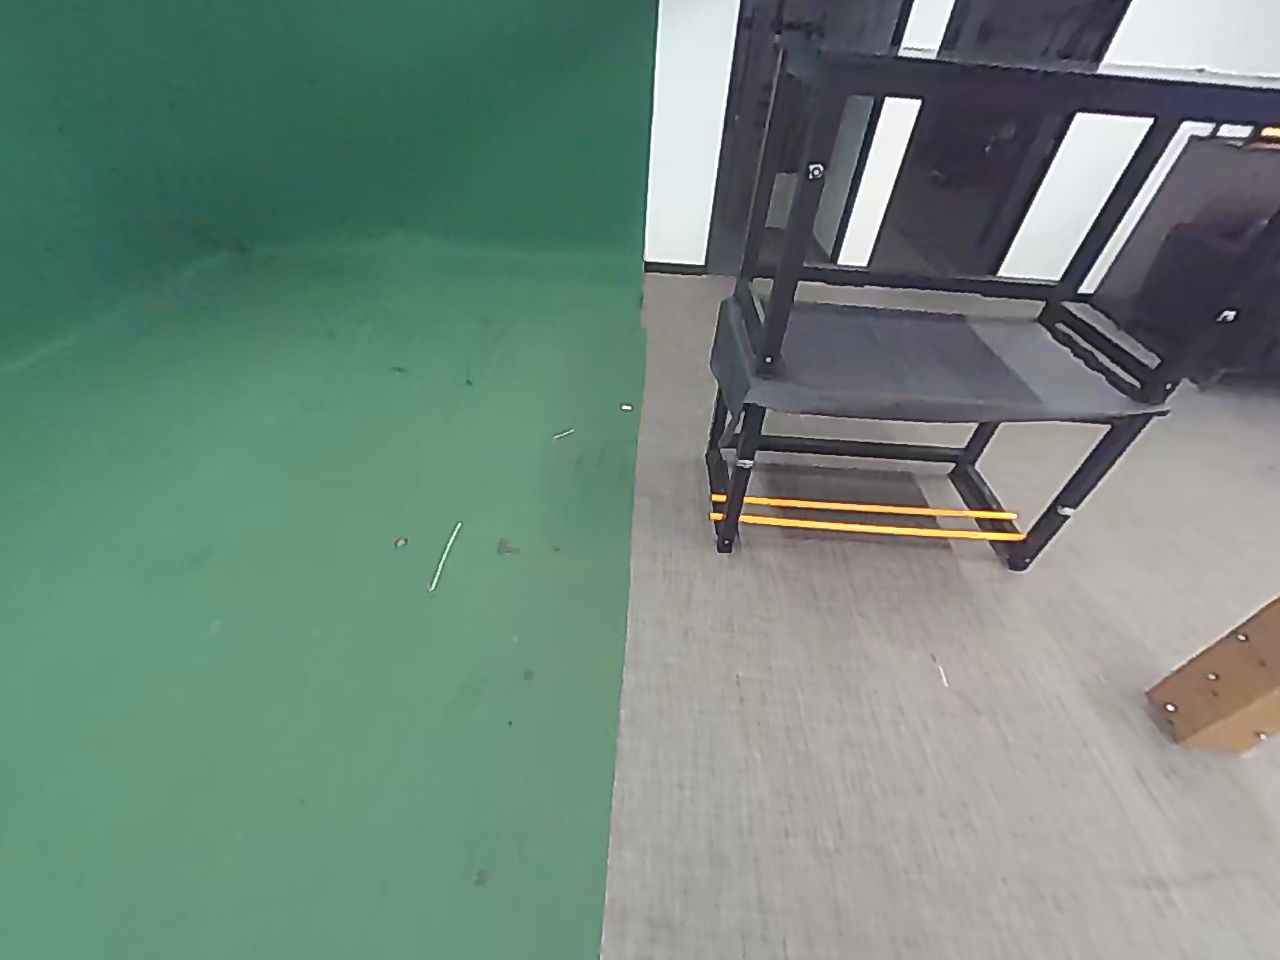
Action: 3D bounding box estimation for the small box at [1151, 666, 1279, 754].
[{"bbox_3d":[1.652,0.665,1.555,0.179,0.176,0.168,7,41,4],"label":"small box"}]

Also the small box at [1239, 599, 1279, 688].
[{"bbox_3d":[1.671,0.419,1.342,0.179,0.176,0.168,6,42,2],"label":"small box"}]
